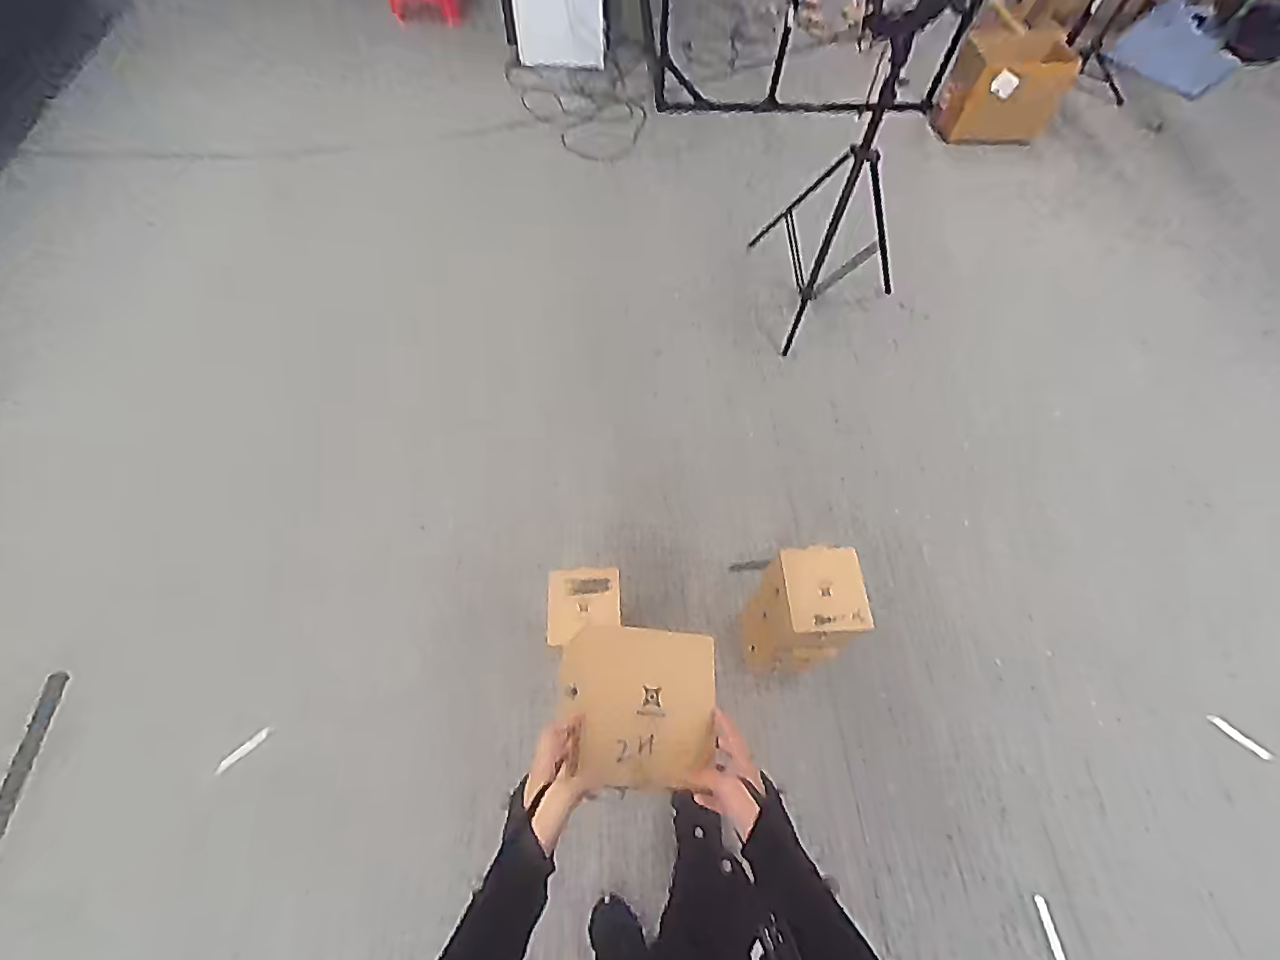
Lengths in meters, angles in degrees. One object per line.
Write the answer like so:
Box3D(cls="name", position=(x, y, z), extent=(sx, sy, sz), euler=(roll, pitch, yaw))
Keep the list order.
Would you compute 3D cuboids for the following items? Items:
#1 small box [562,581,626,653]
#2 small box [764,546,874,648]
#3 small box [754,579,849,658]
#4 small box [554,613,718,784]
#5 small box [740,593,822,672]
Box3D(cls="small box", position=(-0.122, 0.388, 1.456), extent=(0.168, 0.176, 0.179), euler=(-4, 61, -3))
Box3D(cls="small box", position=(0.375, 0.255, 1.171), extent=(0.168, 0.176, 0.179), euler=(-1, 61, -3))
Box3D(cls="small box", position=(0.384, 0.334, 1.316), extent=(0.168, 0.176, 0.179), euler=(-1, 61, -3))
Box3D(cls="small box", position=(-0.010, 0.286, 0.699), extent=(0.168, 0.176, 0.179), euler=(11, 62, -14))
Box3D(cls="small box", position=(0.372, 0.413, 1.460), extent=(0.168, 0.176, 0.179), euler=(0, 62, -2))
